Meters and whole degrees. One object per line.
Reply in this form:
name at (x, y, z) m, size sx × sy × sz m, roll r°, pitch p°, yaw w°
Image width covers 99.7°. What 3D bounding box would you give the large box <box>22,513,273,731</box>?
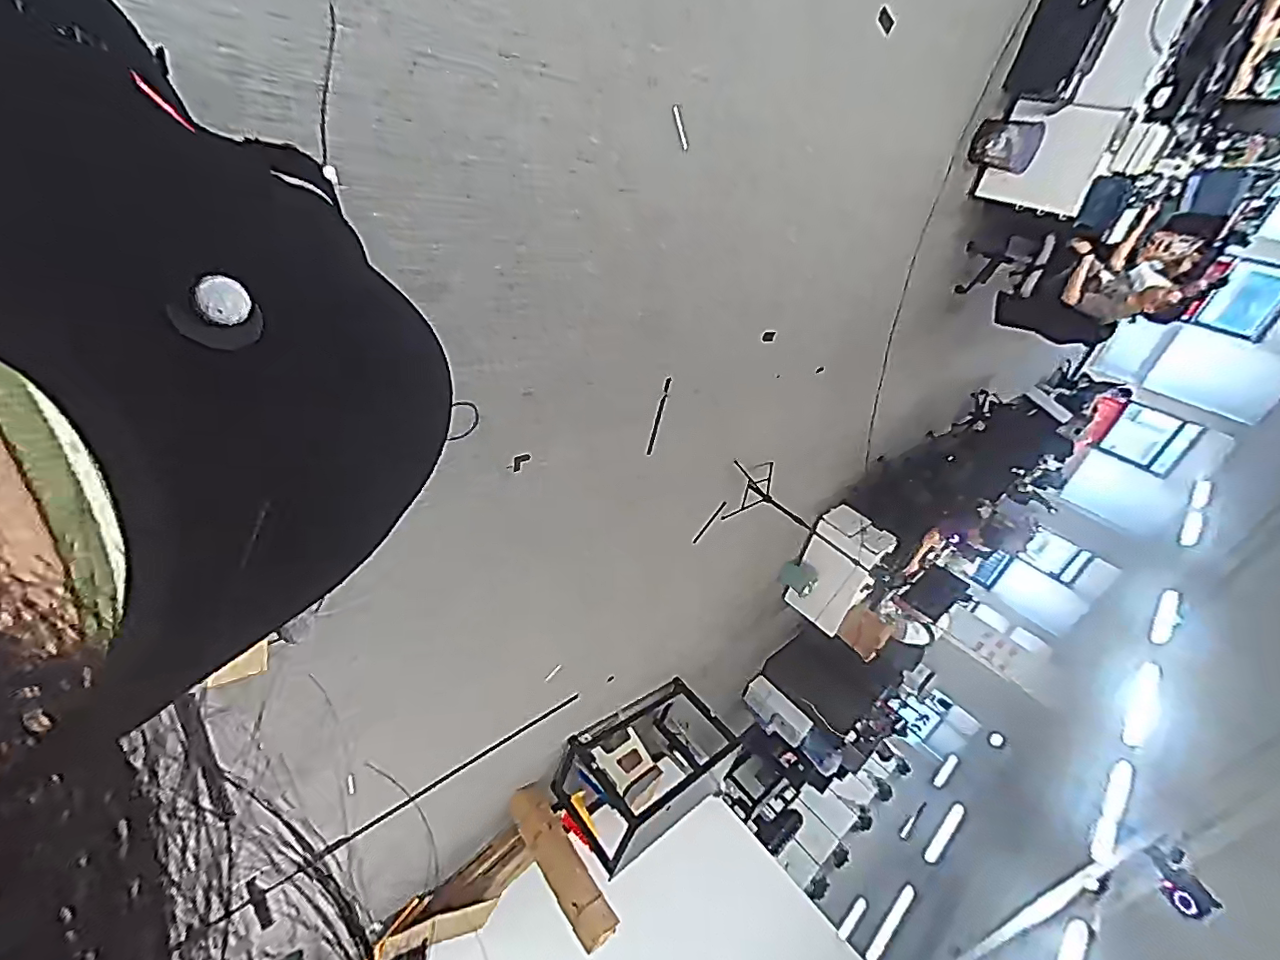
large box at (-1.181, 0.316, 1.326) m, size 0.408 × 0.320 × 0.320 m, roll -11°, pitch 129°, yaw -45°
